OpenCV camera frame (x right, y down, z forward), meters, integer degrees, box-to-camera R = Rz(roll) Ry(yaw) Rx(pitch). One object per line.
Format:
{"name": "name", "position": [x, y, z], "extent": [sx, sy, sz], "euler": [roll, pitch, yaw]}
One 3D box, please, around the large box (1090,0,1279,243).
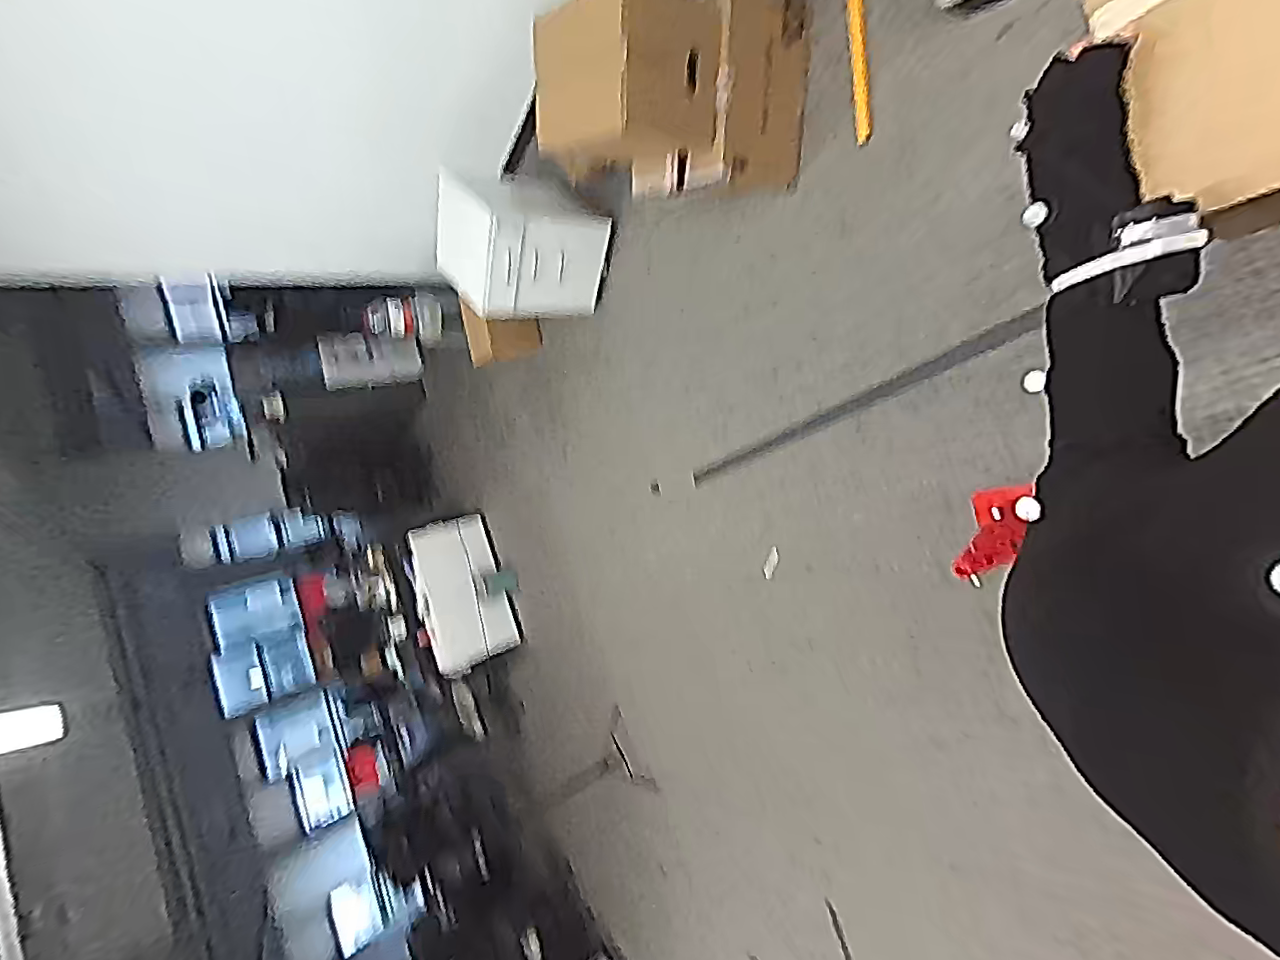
{"name": "large box", "position": [0.566, -0.389, 0.324], "extent": [0.408, 0.320, 0.320], "euler": [-12, 94, 55]}

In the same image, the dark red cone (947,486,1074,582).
{"name": "dark red cone", "position": [0.803, 0.156, 1.233], "extent": [0.201, 0.394, 0.202], "euler": [-18, 88, 53]}
